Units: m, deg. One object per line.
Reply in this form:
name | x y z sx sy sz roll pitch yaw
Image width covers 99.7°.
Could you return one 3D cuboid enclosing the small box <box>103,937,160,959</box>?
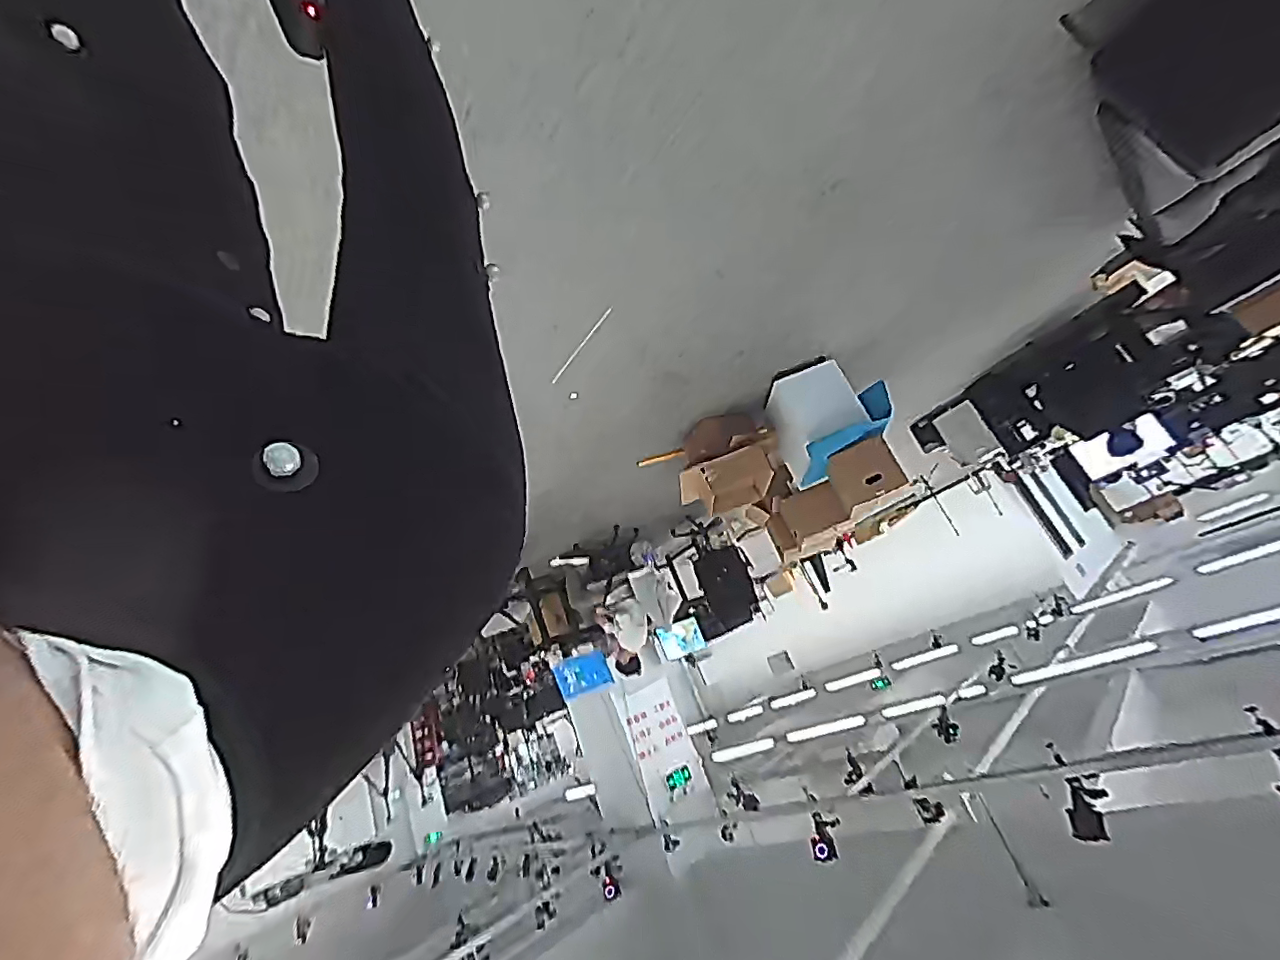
small box | -1.445 1.411 1.497 0.168 0.176 0.179 -1 153 -47
